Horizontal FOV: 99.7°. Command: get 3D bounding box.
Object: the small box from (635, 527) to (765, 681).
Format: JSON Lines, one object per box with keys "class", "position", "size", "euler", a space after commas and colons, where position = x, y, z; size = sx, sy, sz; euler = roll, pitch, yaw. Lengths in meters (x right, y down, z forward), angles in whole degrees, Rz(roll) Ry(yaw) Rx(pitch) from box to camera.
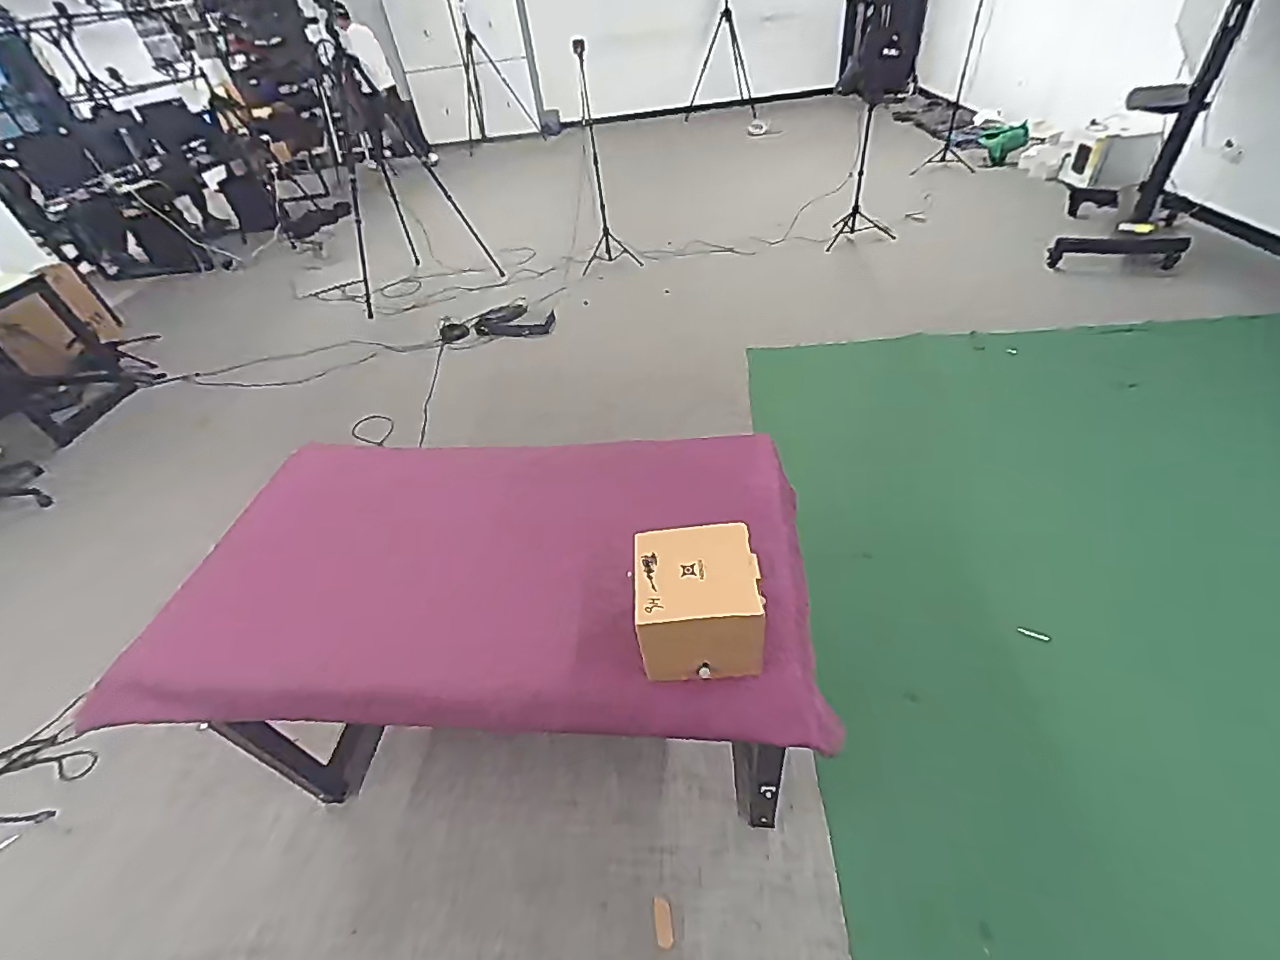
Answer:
{"class": "small box", "position": [0.088, 0.192, 0.830], "size": [0.179, 0.176, 0.168], "euler": [-5, 42, 5]}
